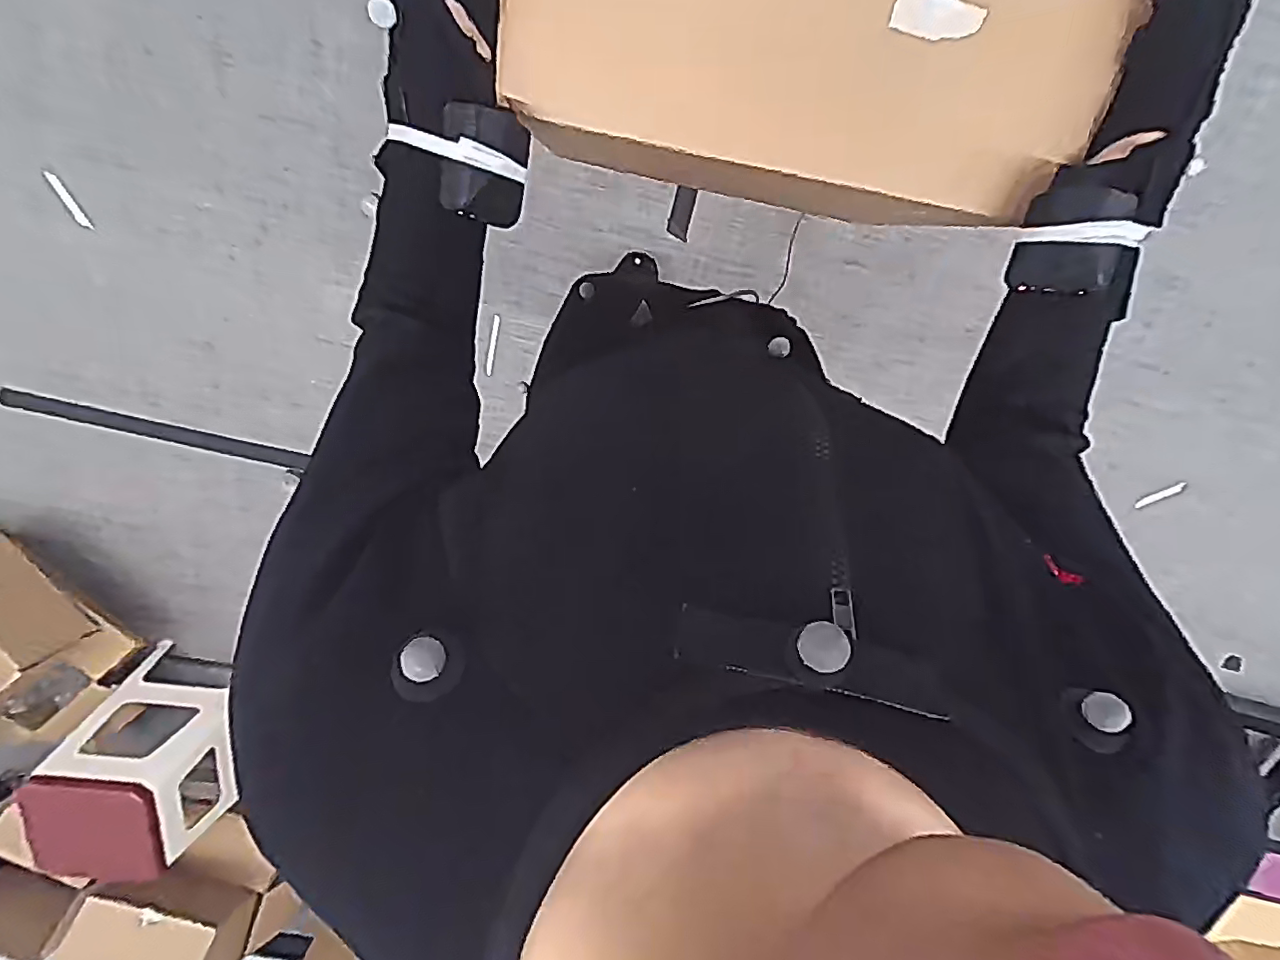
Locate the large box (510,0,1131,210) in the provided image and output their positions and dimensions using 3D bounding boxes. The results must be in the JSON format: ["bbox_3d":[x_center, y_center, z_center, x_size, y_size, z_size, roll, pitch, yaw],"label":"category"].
[{"bbox_3d":[0.123,-0.431,0.454,0.408,0.320,0.320,8,117,-6],"label":"large box"}]
